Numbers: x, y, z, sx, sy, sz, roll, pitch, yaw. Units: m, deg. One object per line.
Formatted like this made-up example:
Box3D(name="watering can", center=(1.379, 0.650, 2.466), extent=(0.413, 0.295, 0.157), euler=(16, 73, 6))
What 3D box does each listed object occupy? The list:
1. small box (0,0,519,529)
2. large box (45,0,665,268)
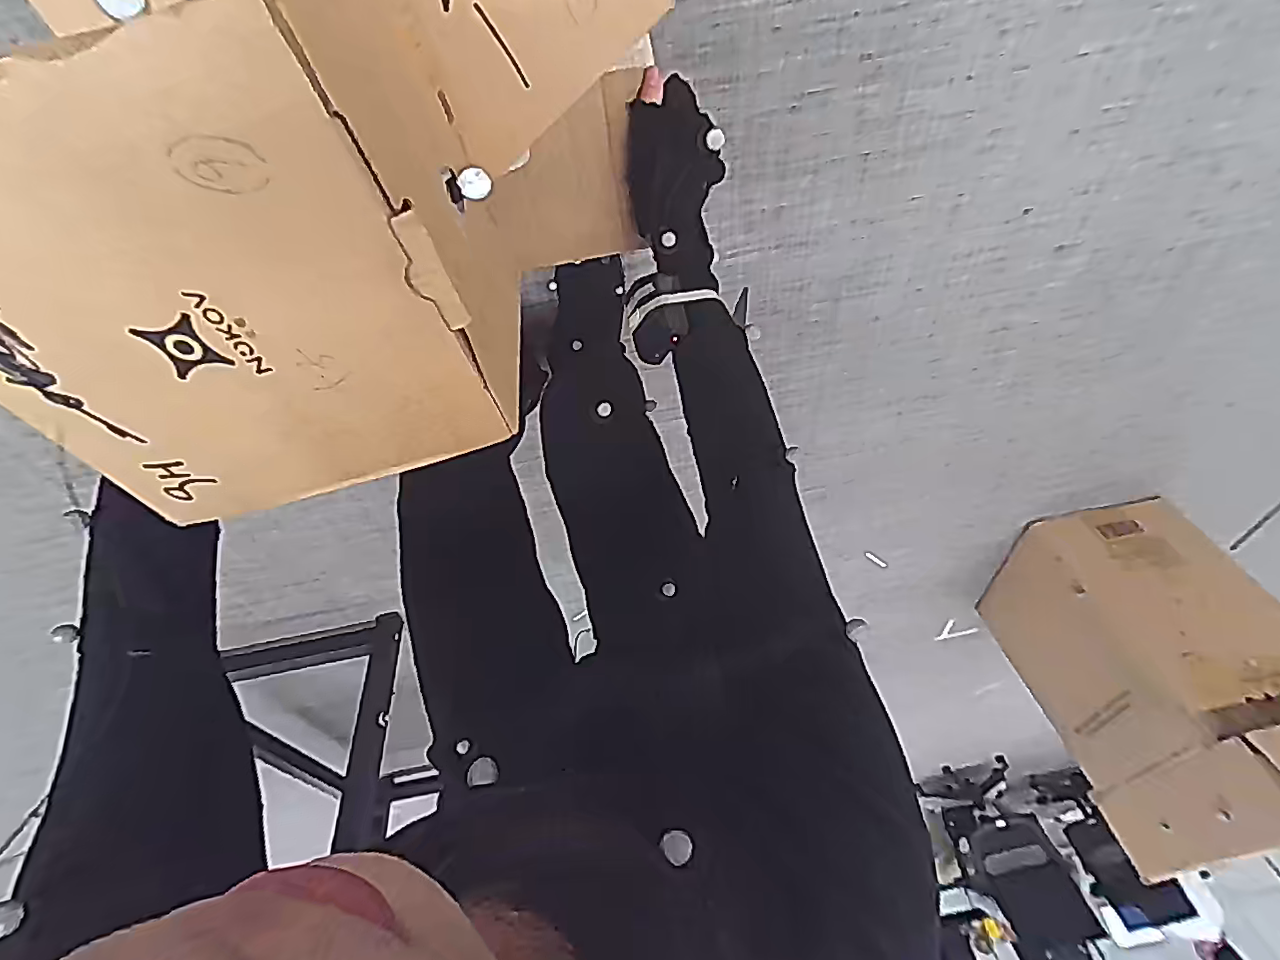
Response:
Box3D(name="small box", center=(-0.168, -0.108, 0.248), extent=(0.179, 0.176, 0.168), euler=(-14, 136, 3))
Box3D(name="large box", center=(-0.214, -0.407, 0.522), extent=(0.408, 0.320, 0.320), euler=(-12, 137, -1))
